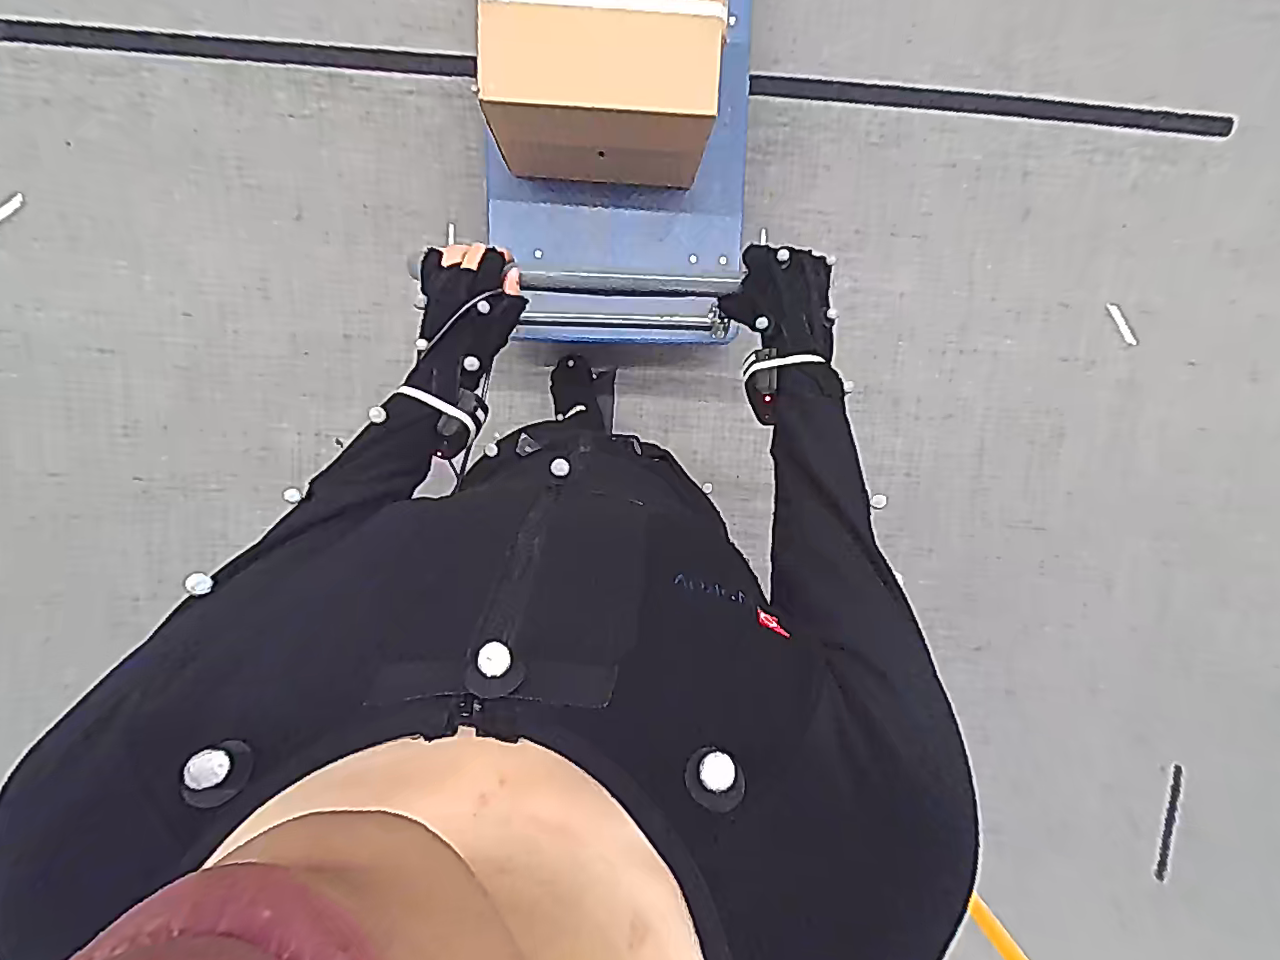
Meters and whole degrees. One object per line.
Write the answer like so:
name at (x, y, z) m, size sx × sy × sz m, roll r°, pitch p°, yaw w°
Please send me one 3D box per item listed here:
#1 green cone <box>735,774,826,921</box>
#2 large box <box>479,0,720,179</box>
green cone at (0.401, 0.997, 1.443) m, size 0.202 × 0.368 × 0.200 m, roll 7°, pitch 97°, yaw -5°
large box at (-0.069, -0.801, 1.035) m, size 0.408 × 0.320 × 0.320 m, roll 2°, pitch 98°, yaw -2°
